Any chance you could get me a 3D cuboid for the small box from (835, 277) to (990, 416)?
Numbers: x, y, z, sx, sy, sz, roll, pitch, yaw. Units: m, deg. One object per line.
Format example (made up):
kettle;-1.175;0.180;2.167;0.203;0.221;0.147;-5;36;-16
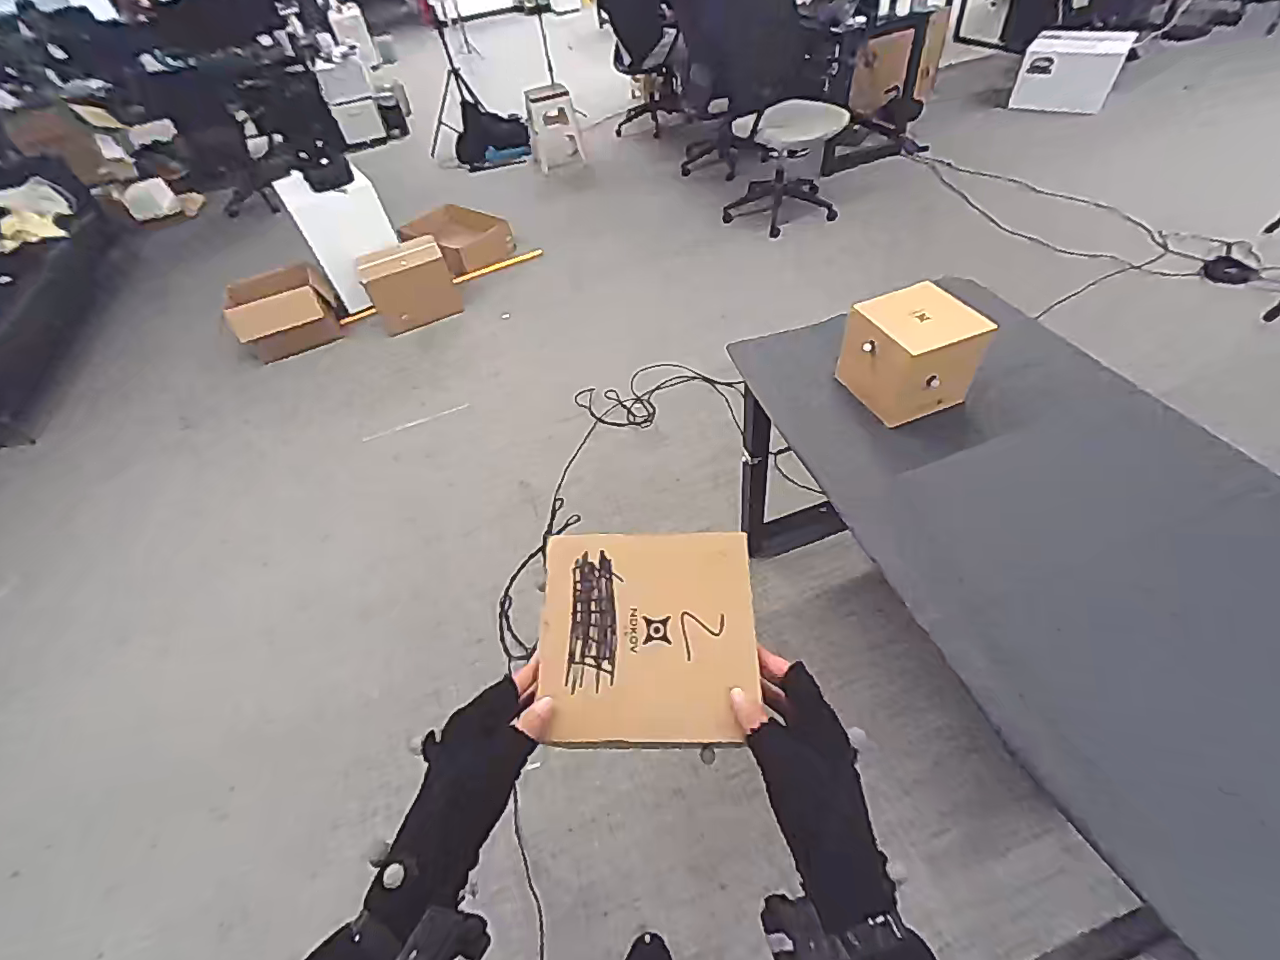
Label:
small box;0.485;-0.237;0.993;0.168;0.176;0.179;-20;49;-9
